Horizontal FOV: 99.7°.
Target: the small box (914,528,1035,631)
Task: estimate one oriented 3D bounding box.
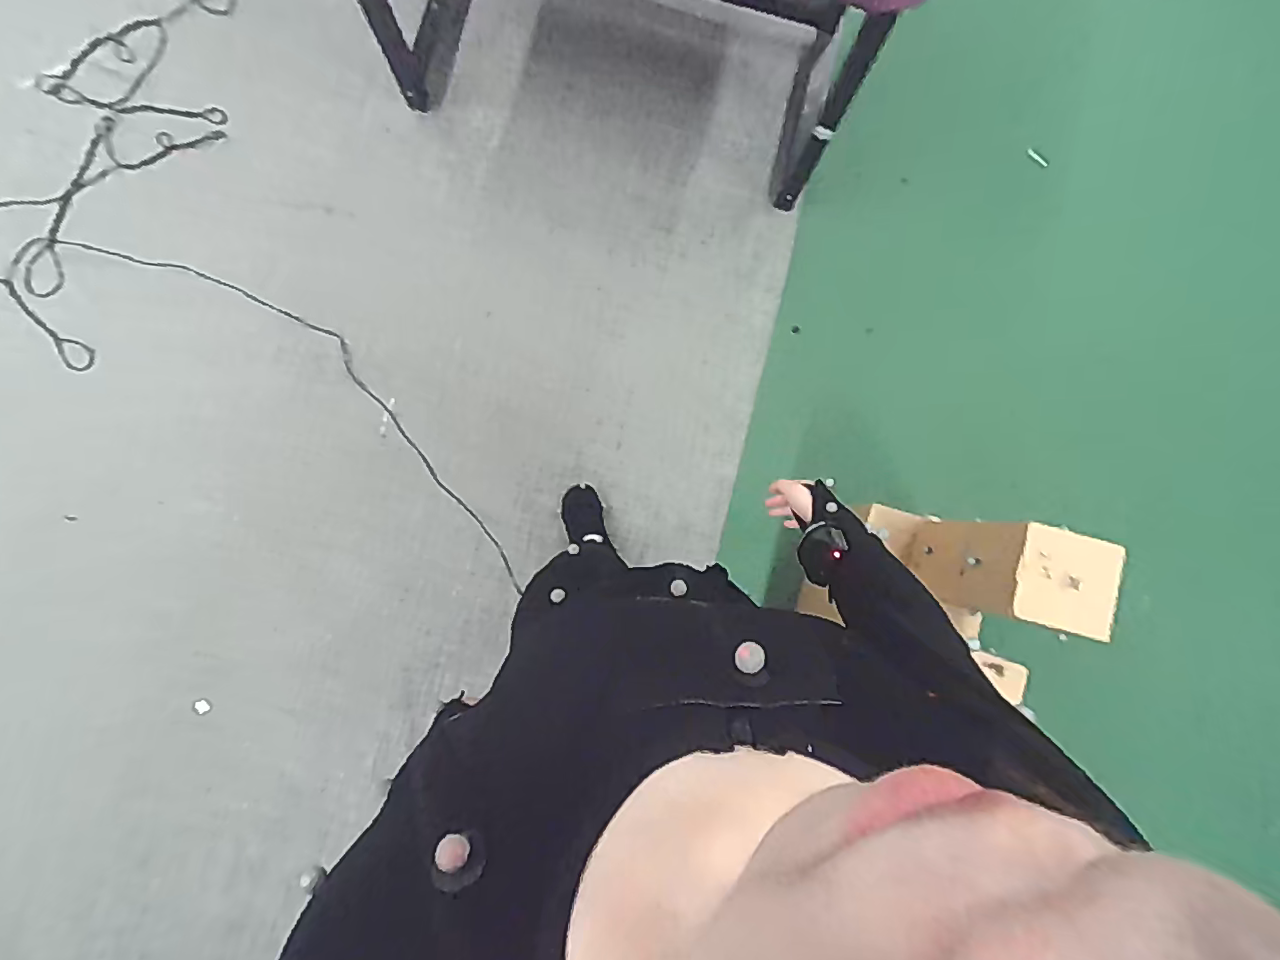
[{"bbox_3d":[0.716,0.200,1.133,0.179,0.176,0.168,16,84,-1],"label":"small box"}]

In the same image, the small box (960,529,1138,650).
[{"bbox_3d":[0.720,0.186,0.969,0.179,0.176,0.168,15,84,-1],"label":"small box"}]

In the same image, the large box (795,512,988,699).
[{"bbox_3d":[0.627,0.311,1.362,0.320,0.320,0.408,16,85,0],"label":"large box"}]
